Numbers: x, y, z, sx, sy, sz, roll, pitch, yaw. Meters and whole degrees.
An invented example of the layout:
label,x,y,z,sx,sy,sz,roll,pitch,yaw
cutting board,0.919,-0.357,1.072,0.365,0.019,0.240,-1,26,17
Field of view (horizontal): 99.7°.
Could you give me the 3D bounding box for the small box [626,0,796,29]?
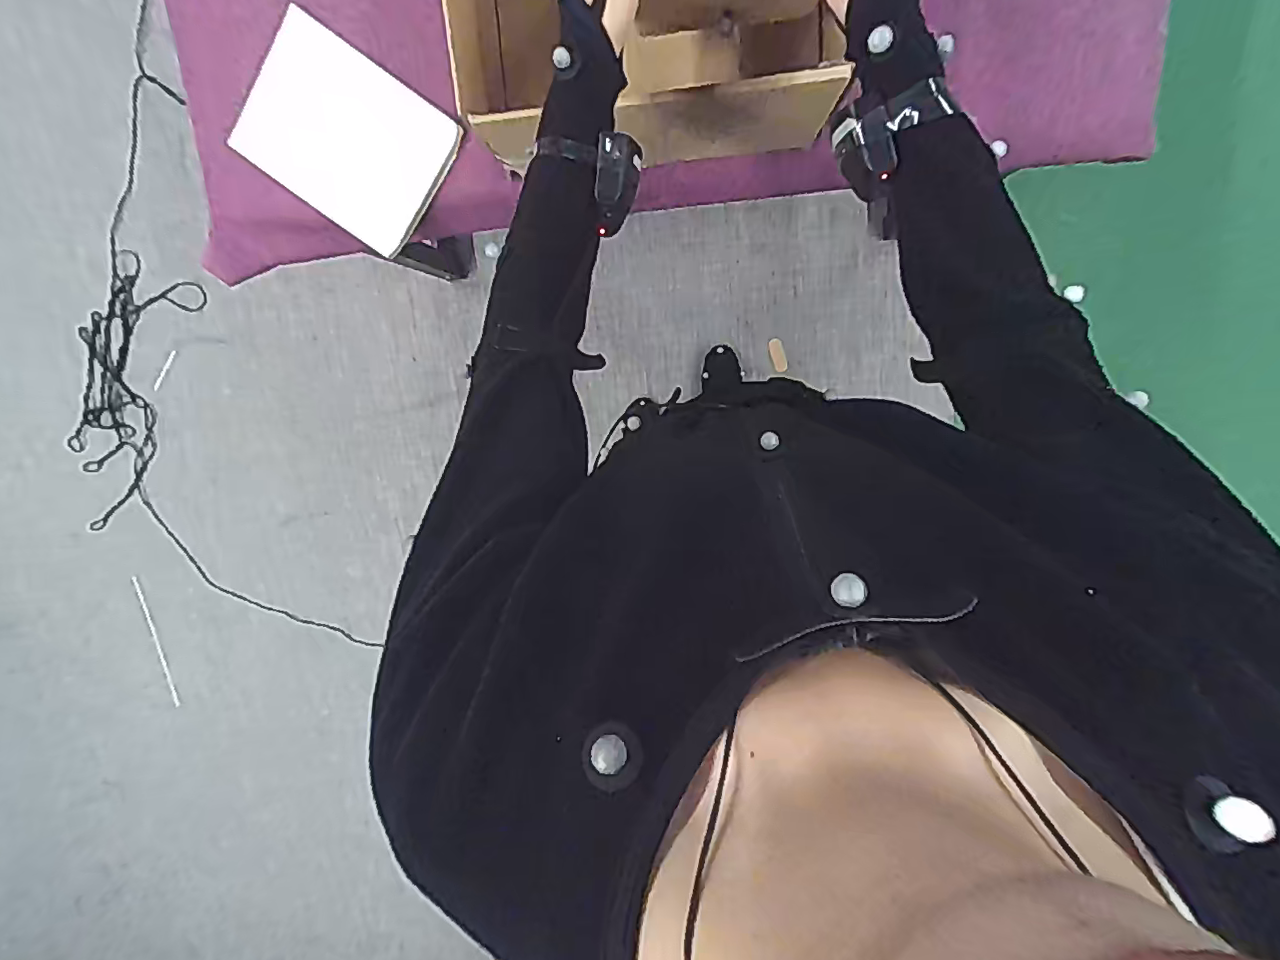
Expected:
label,x,y,z,sx,sy,sz,roll,pitch,yaw
small box,0.066,-0.498,0.434,0.179,0.176,0.168,-3,115,6
